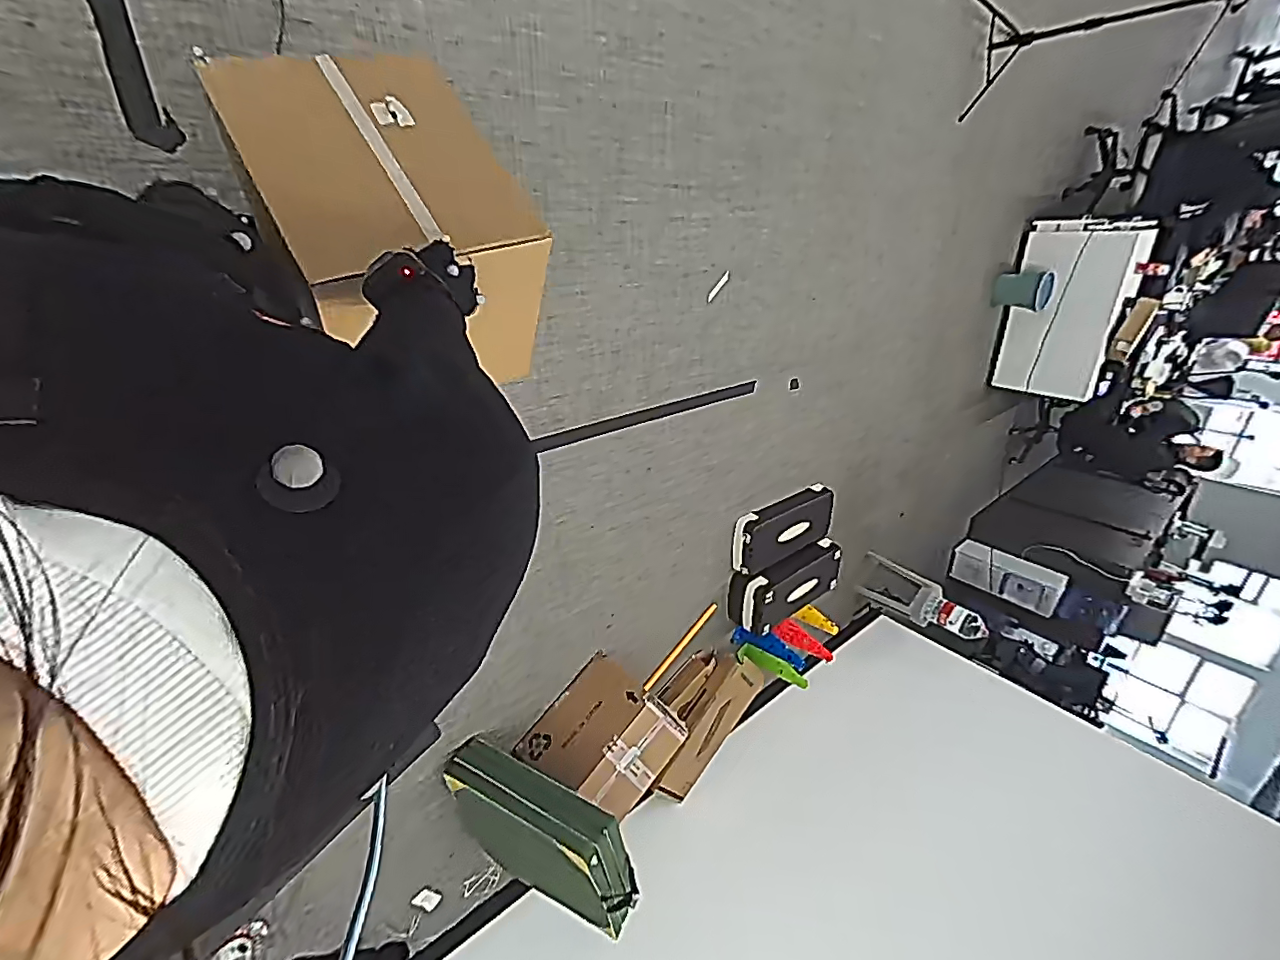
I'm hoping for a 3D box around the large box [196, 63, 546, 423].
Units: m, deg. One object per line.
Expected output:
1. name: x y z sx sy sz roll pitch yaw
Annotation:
1. large box: -0.399 -0.369 0.863 0.320 0.408 0.320 -26 164 -29
